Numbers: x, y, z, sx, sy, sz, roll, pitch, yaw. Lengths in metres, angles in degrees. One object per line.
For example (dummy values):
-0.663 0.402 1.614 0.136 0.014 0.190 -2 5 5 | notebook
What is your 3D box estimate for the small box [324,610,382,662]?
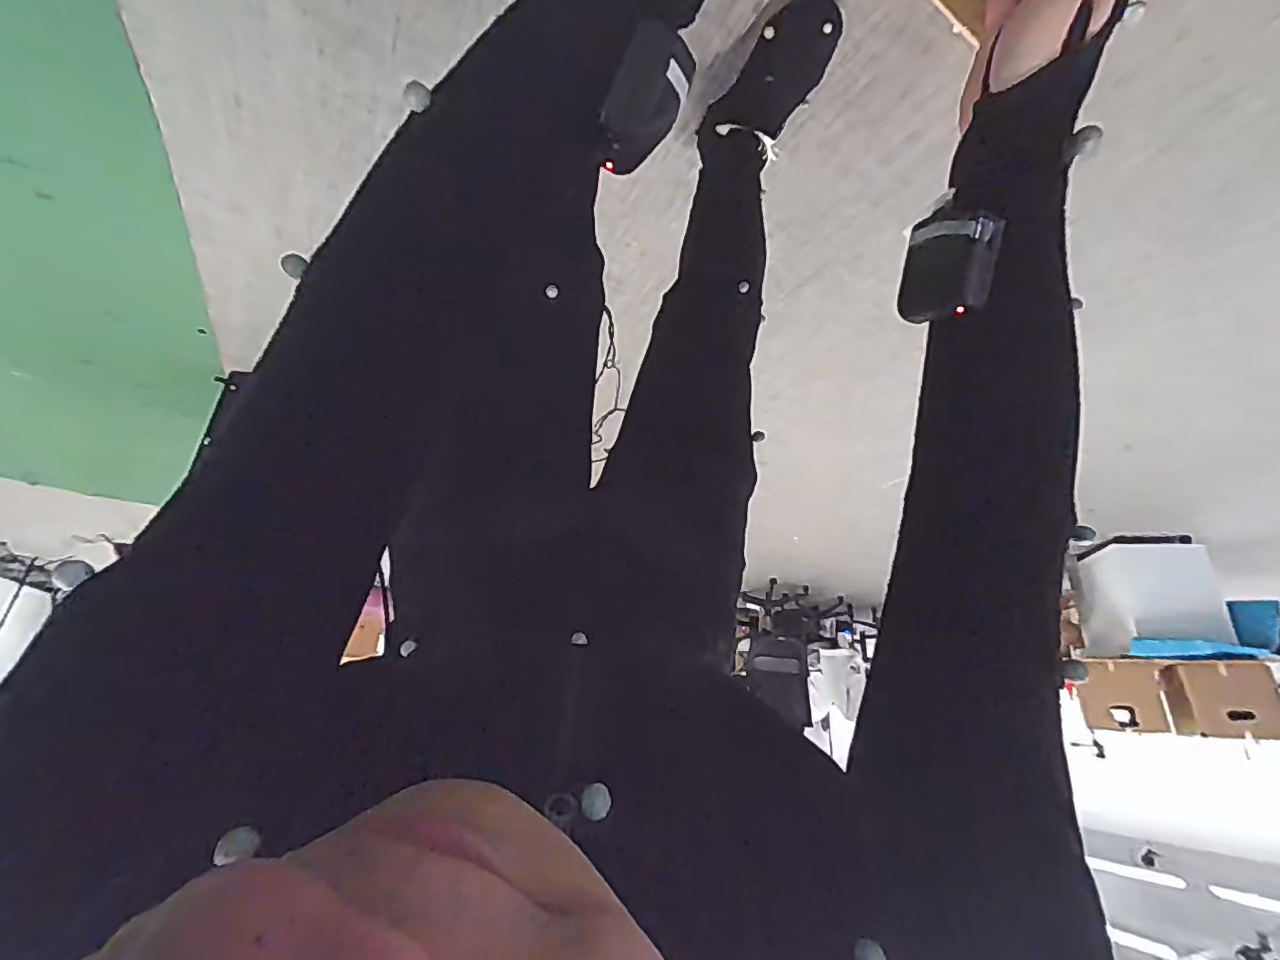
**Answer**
-1.139 0.621 2.146 0.168 0.176 0.179 16 154 -26 | small box
